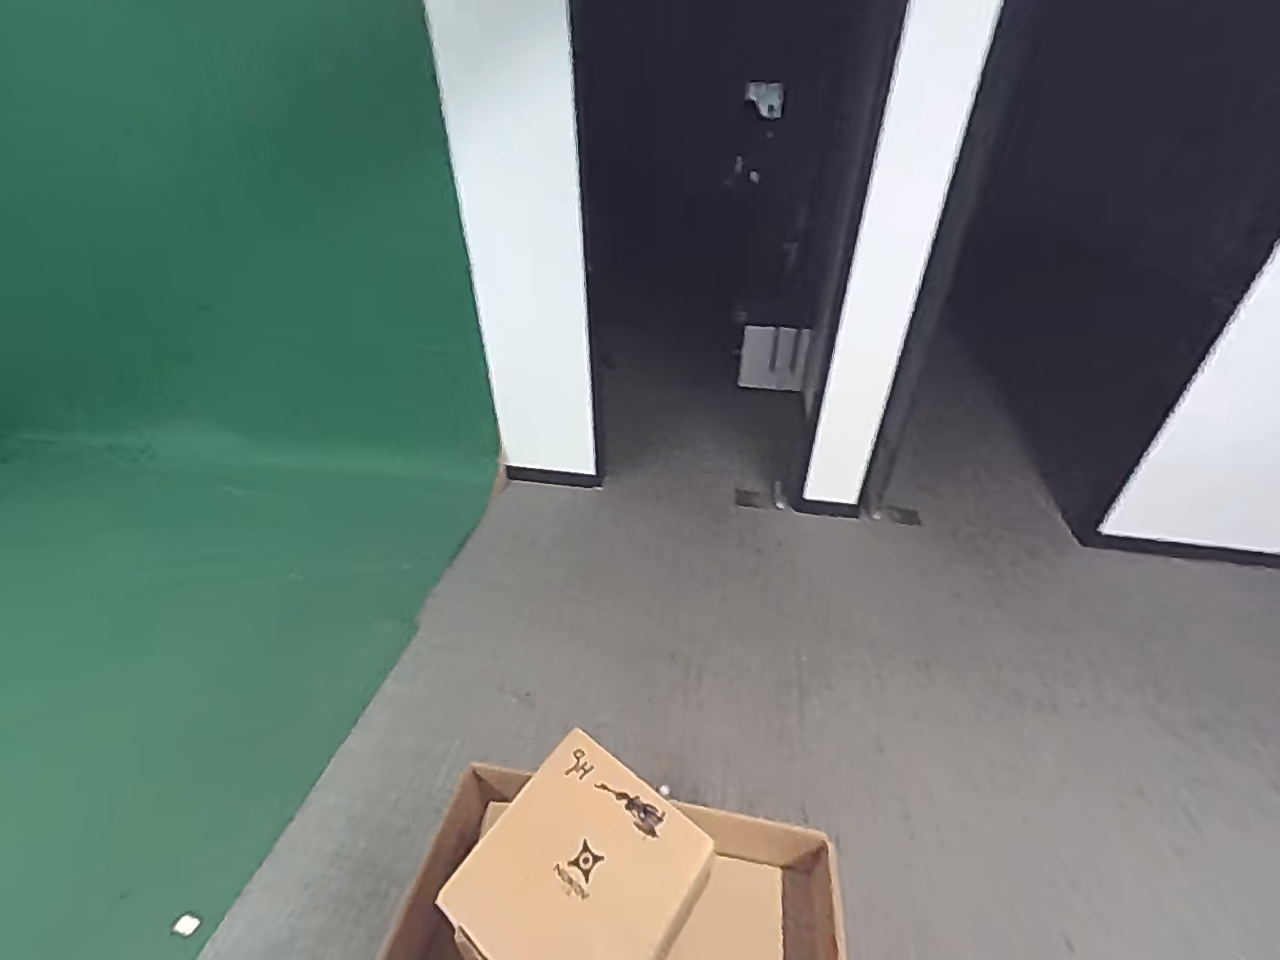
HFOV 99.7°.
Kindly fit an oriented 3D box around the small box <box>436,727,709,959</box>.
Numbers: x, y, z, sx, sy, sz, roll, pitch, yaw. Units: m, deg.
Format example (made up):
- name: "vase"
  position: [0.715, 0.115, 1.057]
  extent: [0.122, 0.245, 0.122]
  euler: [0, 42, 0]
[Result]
- name: "small box"
  position: [-0.047, 0.380, 0.506]
  extent: [0.168, 0.176, 0.179]
  euler: [26, 54, 27]
